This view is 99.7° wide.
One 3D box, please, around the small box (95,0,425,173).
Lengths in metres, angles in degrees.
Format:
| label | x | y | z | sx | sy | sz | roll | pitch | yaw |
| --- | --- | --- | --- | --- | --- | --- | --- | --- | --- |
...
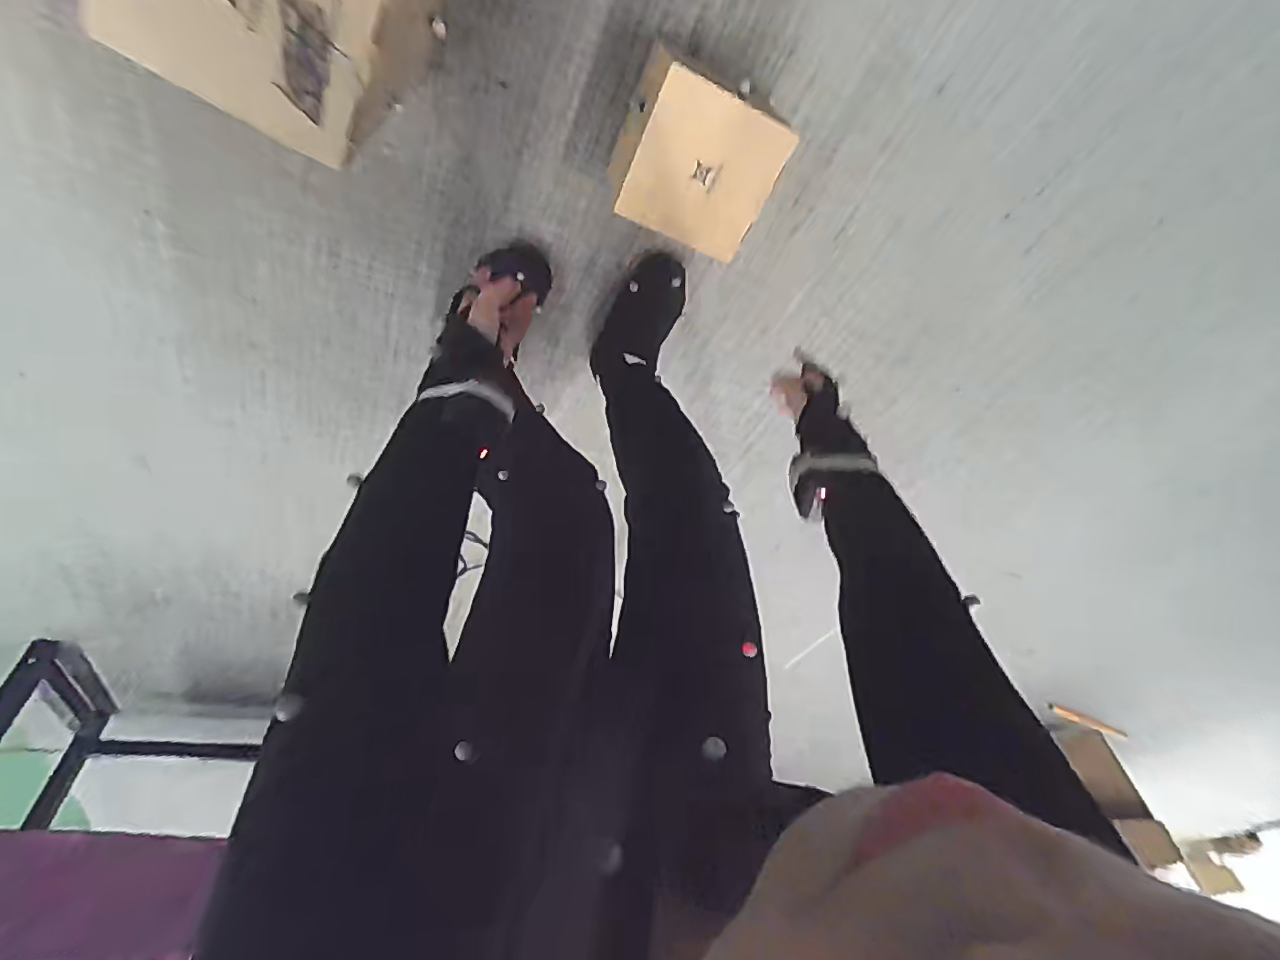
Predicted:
| label | x | y | z | sx | sy | sz | roll | pitch | yaw |
| --- | --- | --- | --- | --- | --- | --- | --- | --- | --- |
| small box | -0.293 | -0.404 | 0.448 | 0.179 | 0.176 | 0.168 | 23 | 129 | -26 |

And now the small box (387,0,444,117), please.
| label | x | y | z | sx | sy | sz | roll | pitch | yaw |
| --- | --- | --- | --- | --- | --- | --- | --- | --- | --- |
| small box | -0.303 | -0.528 | 0.558 | 0.179 | 0.176 | 0.168 | 21 | 129 | -27 |

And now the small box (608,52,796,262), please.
| label | x | y | z | sx | sy | sz | roll | pitch | yaw |
| --- | --- | --- | --- | --- | --- | --- | --- | --- | --- |
| small box | 0.066 | -0.426 | 0.712 | 0.179 | 0.176 | 0.168 | 14 | 133 | -22 |
